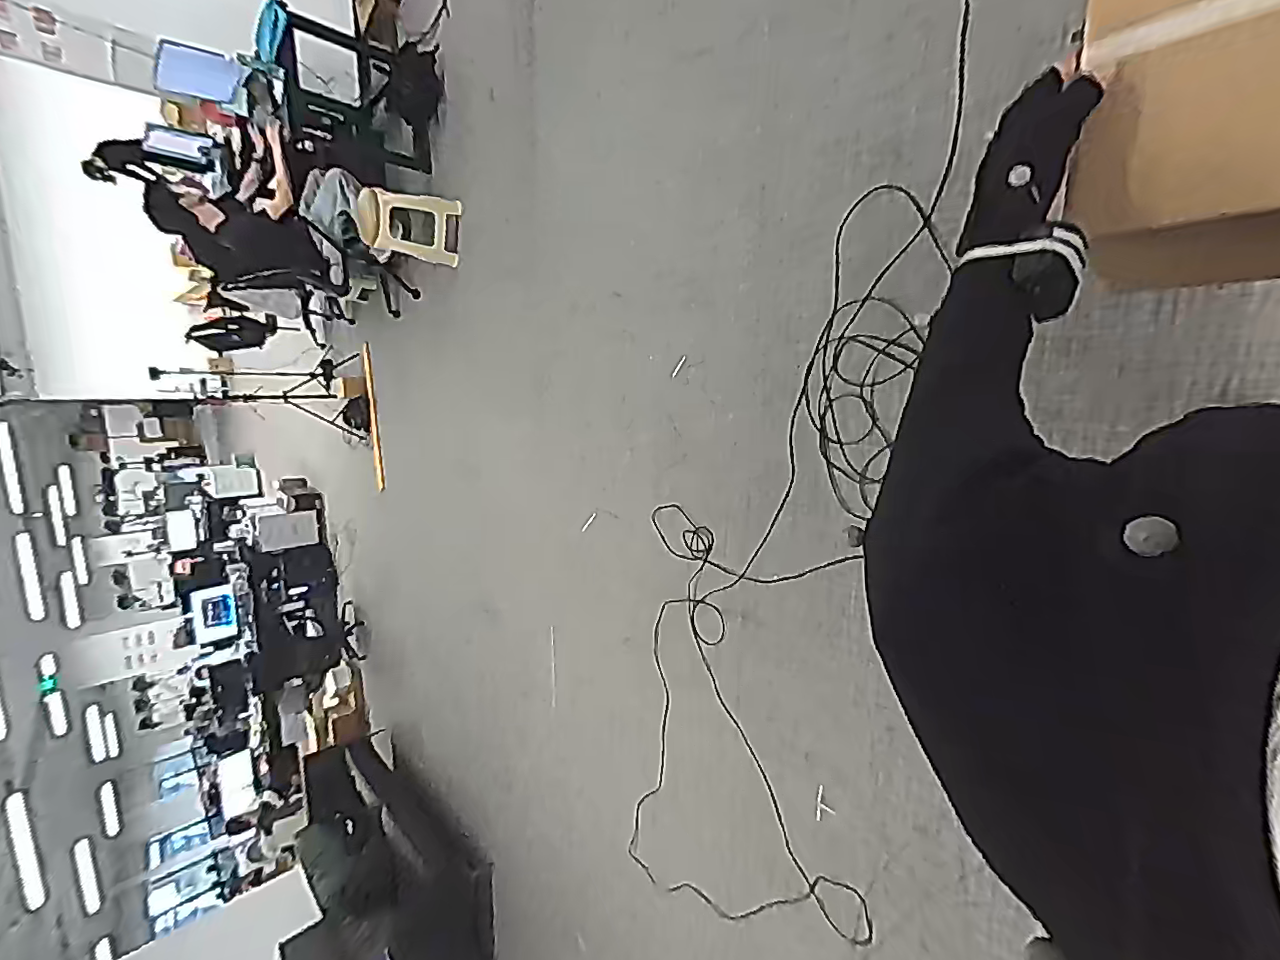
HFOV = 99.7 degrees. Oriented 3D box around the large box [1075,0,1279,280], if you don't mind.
[{"bbox_3d":[0.643,-0.380,0.440,0.408,0.320,0.320,9,101,46],"label":"large box"}]
